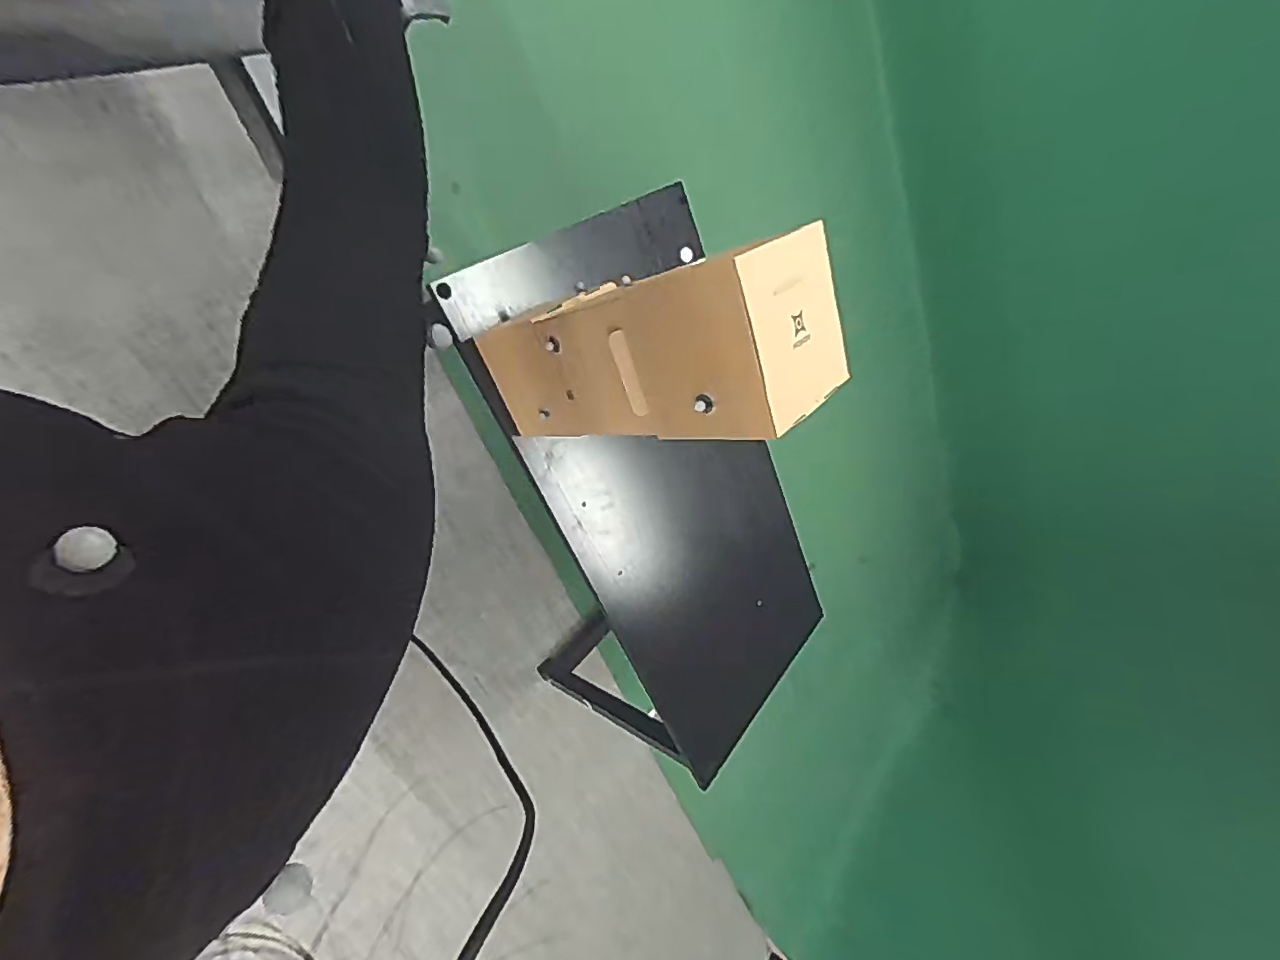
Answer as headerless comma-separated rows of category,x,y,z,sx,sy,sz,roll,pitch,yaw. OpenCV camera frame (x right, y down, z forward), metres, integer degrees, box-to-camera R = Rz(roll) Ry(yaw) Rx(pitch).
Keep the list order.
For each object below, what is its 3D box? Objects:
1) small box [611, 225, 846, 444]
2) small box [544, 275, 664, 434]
small box,0.098,-0.153,0.592,0.168,0.176,0.179,-36,117,-36
small box,-0.005,-0.170,0.717,0.179,0.176,0.168,-36,118,-35
